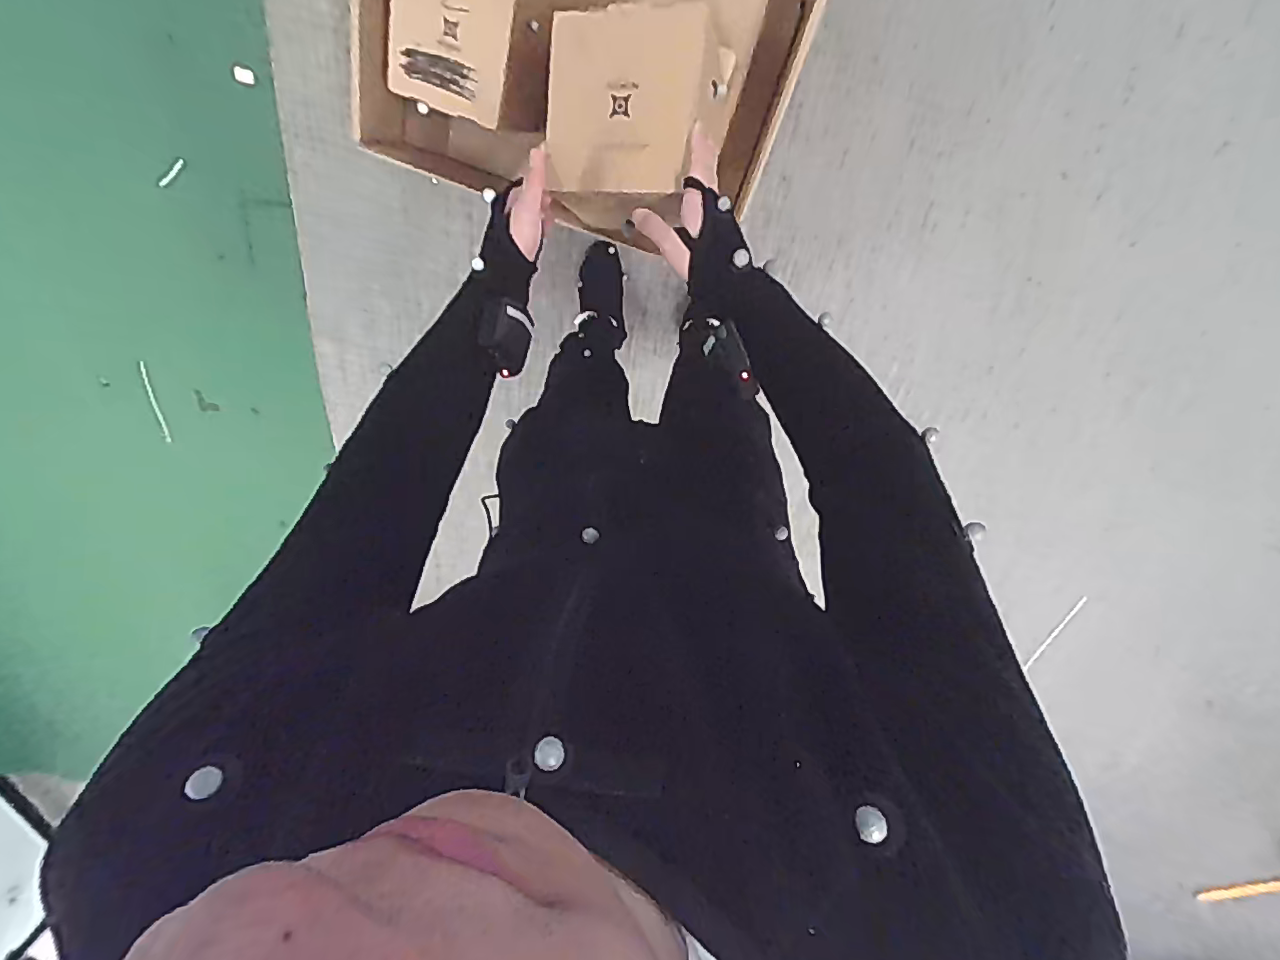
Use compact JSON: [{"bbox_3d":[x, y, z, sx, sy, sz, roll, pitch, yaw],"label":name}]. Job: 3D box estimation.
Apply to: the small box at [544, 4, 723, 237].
[{"bbox_3d":[0.002,-0.405,0.637,0.168,0.176,0.179,9,101,13],"label":"small box"}]
